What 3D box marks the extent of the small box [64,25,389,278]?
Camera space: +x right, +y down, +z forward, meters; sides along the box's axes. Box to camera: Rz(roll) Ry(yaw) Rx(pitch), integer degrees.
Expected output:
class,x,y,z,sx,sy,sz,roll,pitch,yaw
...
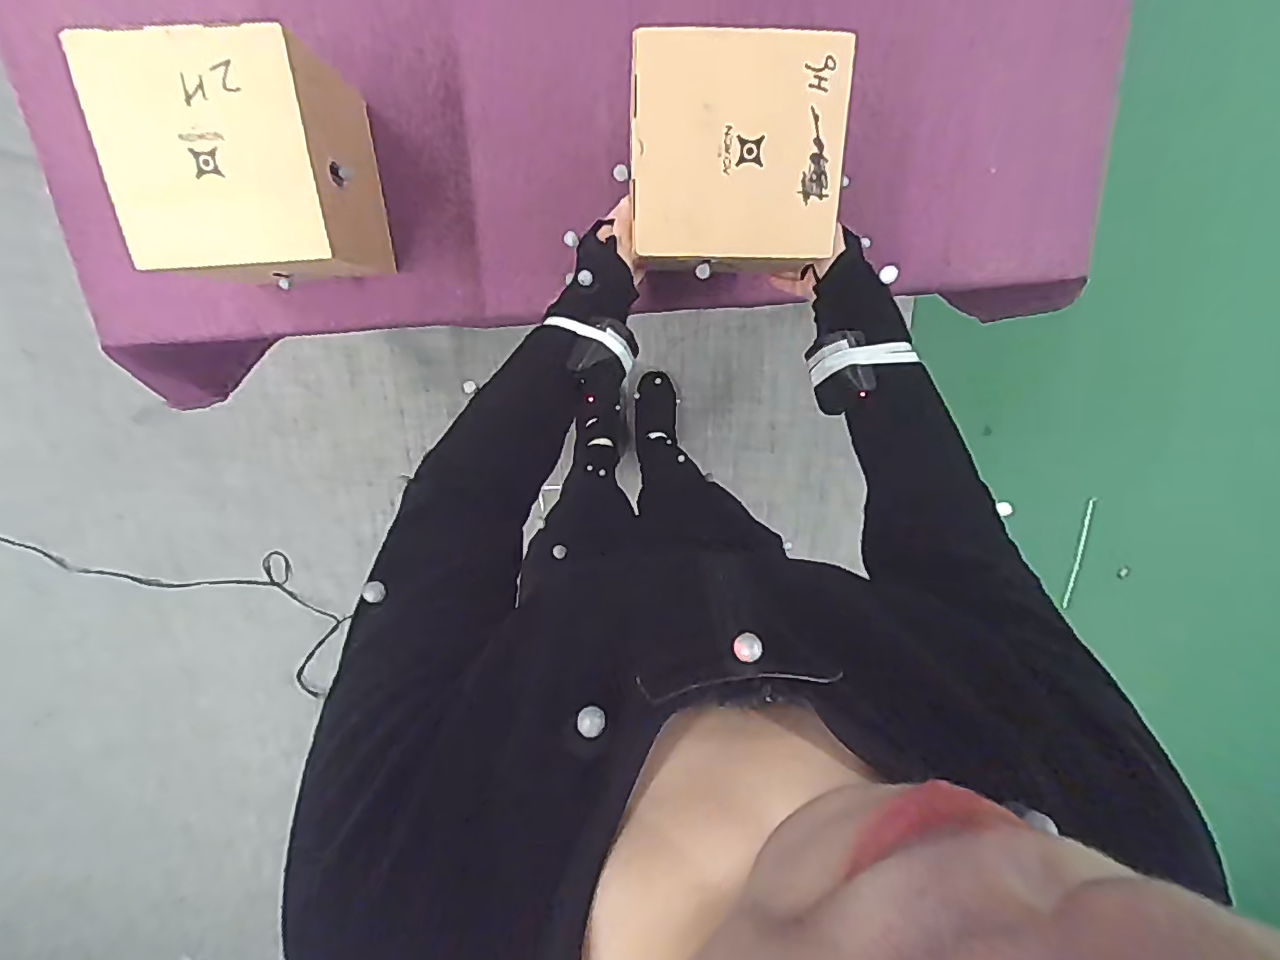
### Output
class,x,y,z,sx,sy,sz,roll,pitch,yaw
small box,-0.364,-0.292,0.520,0.168,0.176,0.179,-5,107,-4

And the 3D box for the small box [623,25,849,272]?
class,x,y,z,sx,sy,sz,roll,pitch,yaw
small box,0.074,-0.295,0.519,0.179,0.176,0.168,1,107,-2
